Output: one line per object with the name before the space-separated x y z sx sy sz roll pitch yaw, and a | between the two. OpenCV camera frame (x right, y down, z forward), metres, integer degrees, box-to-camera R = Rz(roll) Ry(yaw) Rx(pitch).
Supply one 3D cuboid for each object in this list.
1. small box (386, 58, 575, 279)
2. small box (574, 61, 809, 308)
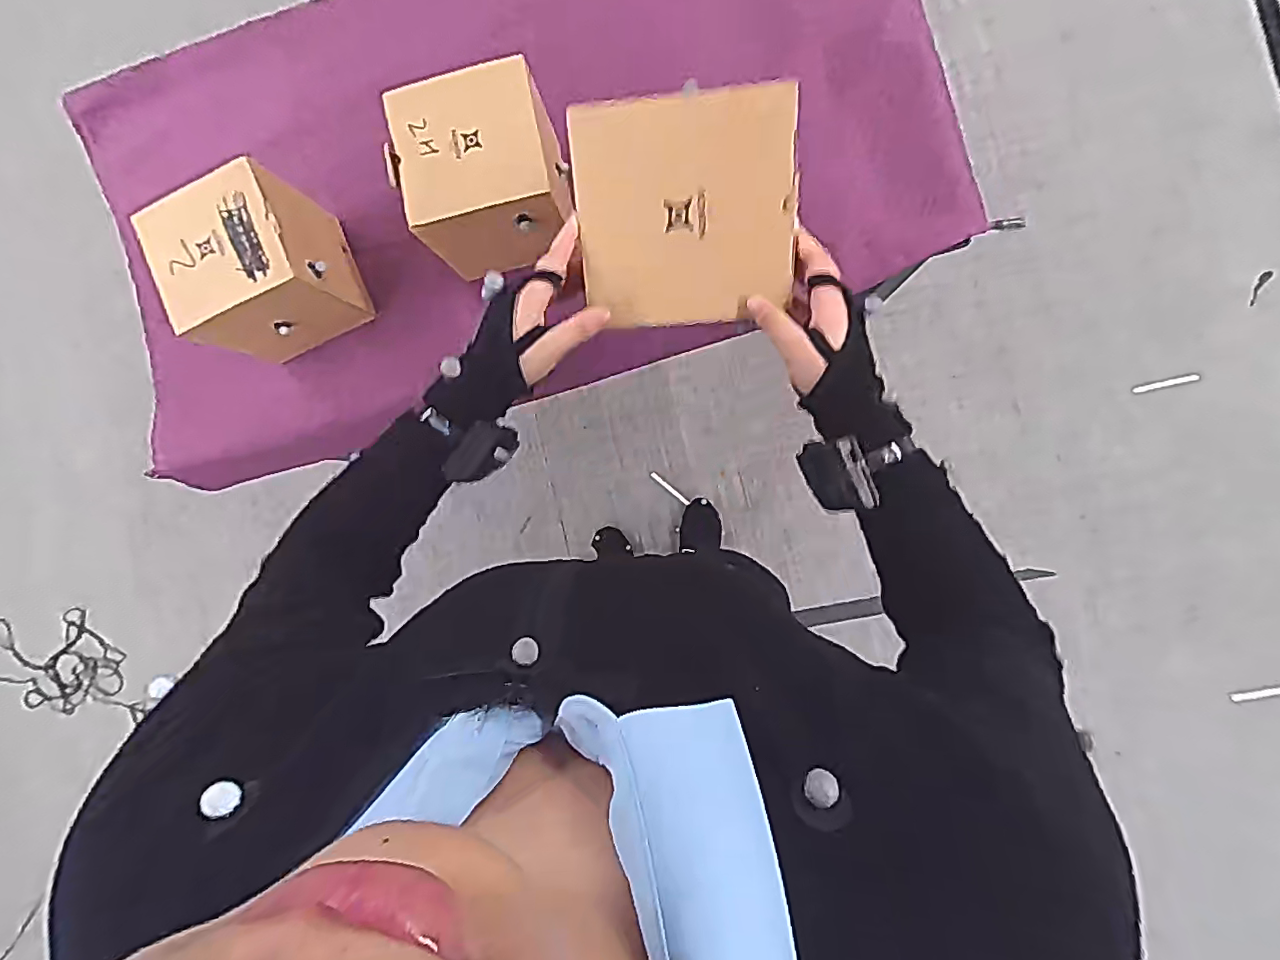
small box | -0.191 -0.386 0.703 0.179 0.176 0.168 -12 88 6
small box | 0.048 -0.250 0.499 0.179 0.176 0.168 -2 110 6
